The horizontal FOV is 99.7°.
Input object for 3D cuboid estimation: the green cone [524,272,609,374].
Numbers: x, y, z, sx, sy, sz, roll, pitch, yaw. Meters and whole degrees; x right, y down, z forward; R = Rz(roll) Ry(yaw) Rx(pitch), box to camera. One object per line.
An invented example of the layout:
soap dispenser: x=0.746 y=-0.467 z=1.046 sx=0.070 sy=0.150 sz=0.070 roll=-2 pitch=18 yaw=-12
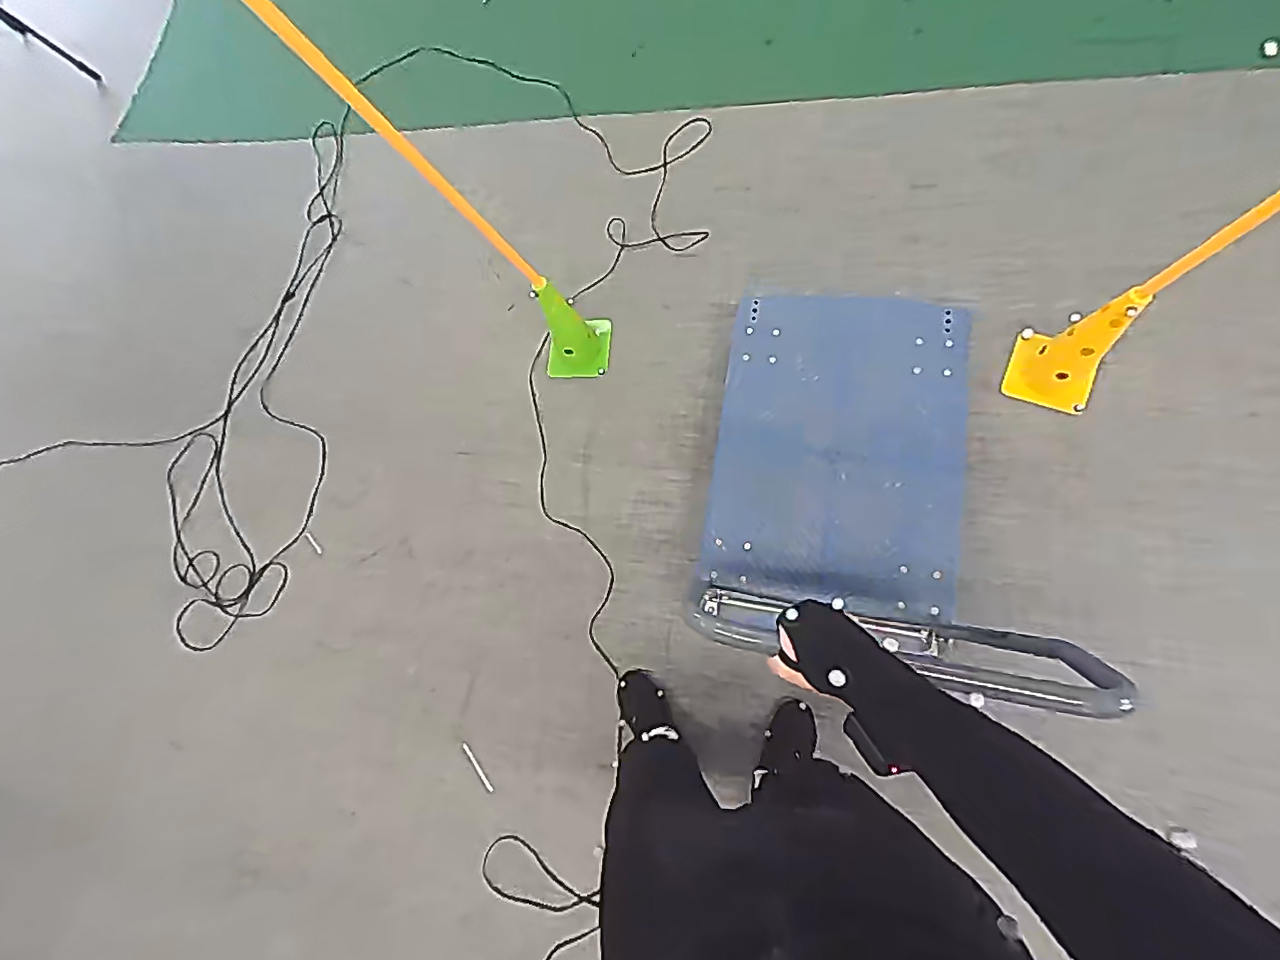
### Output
green cone: x=-0.237 y=-0.478 z=1.562 sx=0.202 sy=0.368 sz=0.200 roll=0 pitch=75 yaw=13
